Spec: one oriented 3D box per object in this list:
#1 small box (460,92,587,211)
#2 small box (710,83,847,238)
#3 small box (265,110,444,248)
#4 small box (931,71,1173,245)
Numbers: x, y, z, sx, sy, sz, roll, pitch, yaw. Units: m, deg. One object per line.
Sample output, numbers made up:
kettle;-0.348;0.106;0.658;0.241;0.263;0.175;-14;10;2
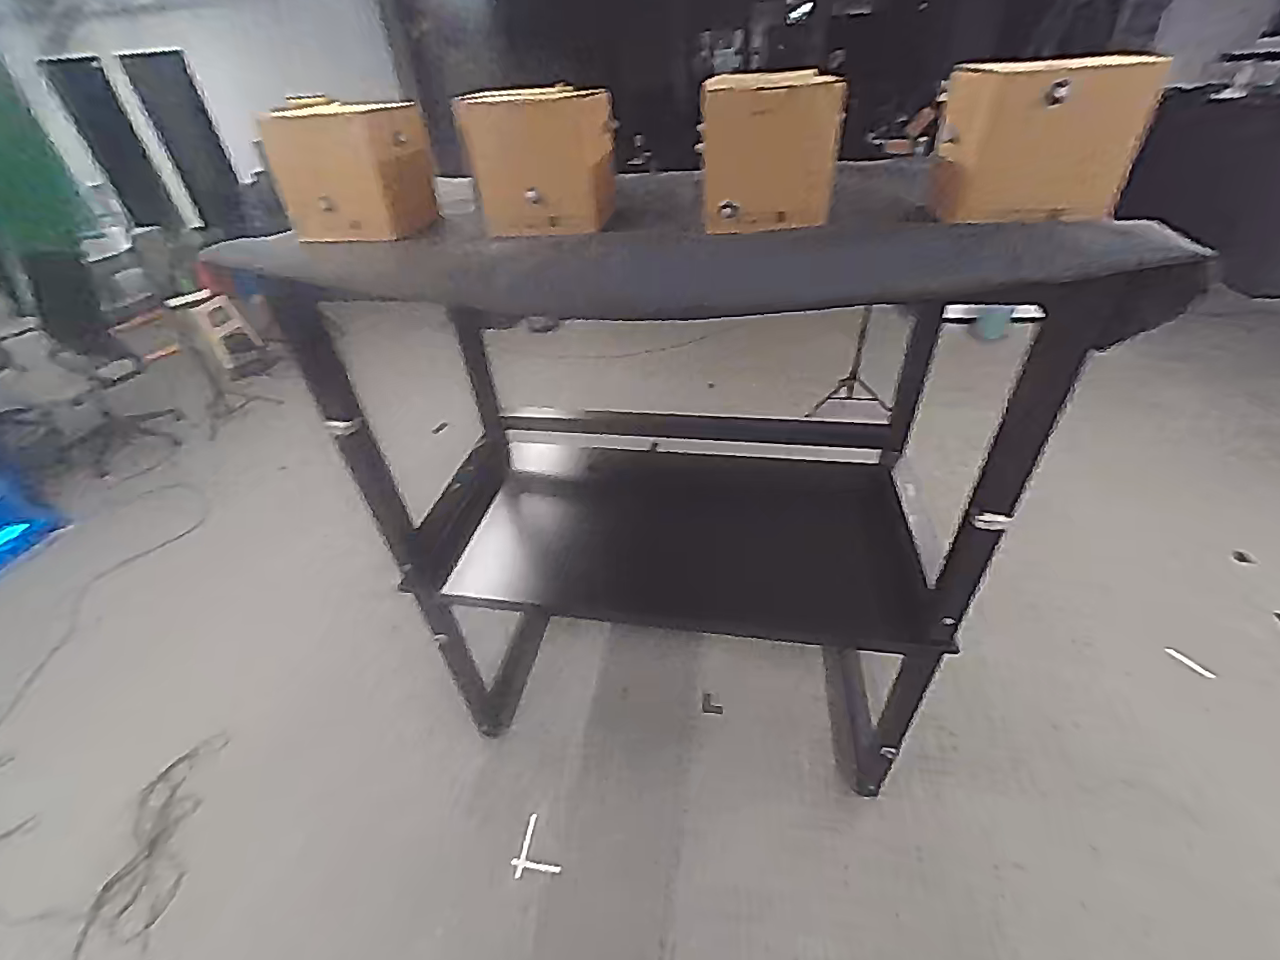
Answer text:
small box;-0.201;-0.607;1.001;0.179;0.176;0.168;2;38;7
small box;0.186;-0.449;0.767;0.168;0.176;0.179;3;38;8
small box;-0.430;-0.478;0.855;0.168;0.176;0.179;3;38;7
small box;0.493;-0.409;0.687;0.168;0.176;0.179;3;37;10
